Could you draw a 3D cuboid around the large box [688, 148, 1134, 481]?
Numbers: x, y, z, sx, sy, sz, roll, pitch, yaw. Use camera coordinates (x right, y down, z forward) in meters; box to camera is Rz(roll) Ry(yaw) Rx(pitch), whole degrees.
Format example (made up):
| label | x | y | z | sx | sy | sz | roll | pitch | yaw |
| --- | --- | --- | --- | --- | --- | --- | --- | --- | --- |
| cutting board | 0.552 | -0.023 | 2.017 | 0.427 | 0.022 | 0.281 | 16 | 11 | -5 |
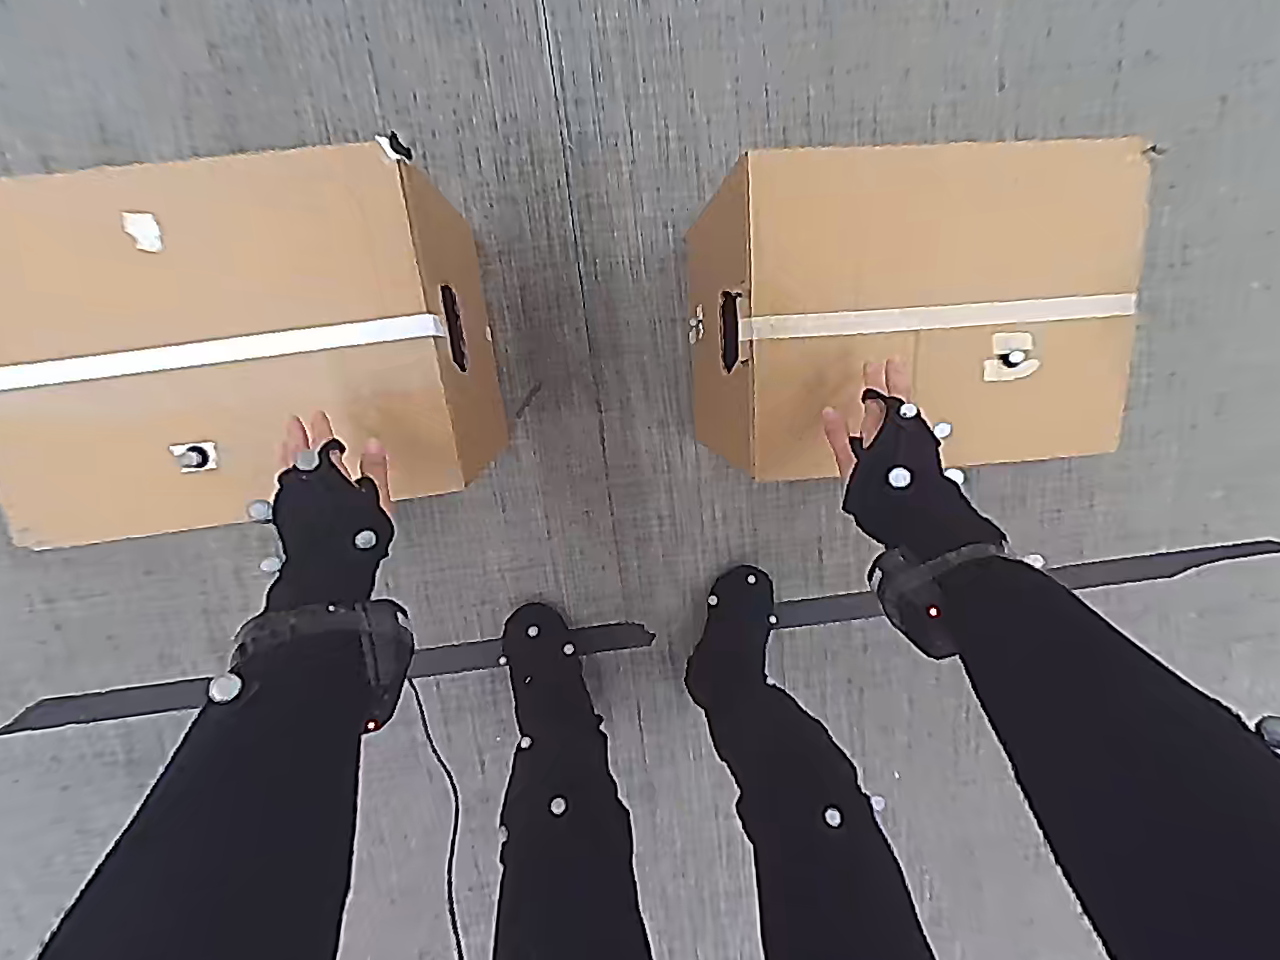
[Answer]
| label | x | y | z | sx | sy | sz | roll | pitch | yaw |
| --- | --- | --- | --- | --- | --- | --- | --- | --- | --- |
| large box | 0.293 | -0.193 | 0.698 | 0.408 | 0.320 | 0.320 | -4 | 102 | -5 |
